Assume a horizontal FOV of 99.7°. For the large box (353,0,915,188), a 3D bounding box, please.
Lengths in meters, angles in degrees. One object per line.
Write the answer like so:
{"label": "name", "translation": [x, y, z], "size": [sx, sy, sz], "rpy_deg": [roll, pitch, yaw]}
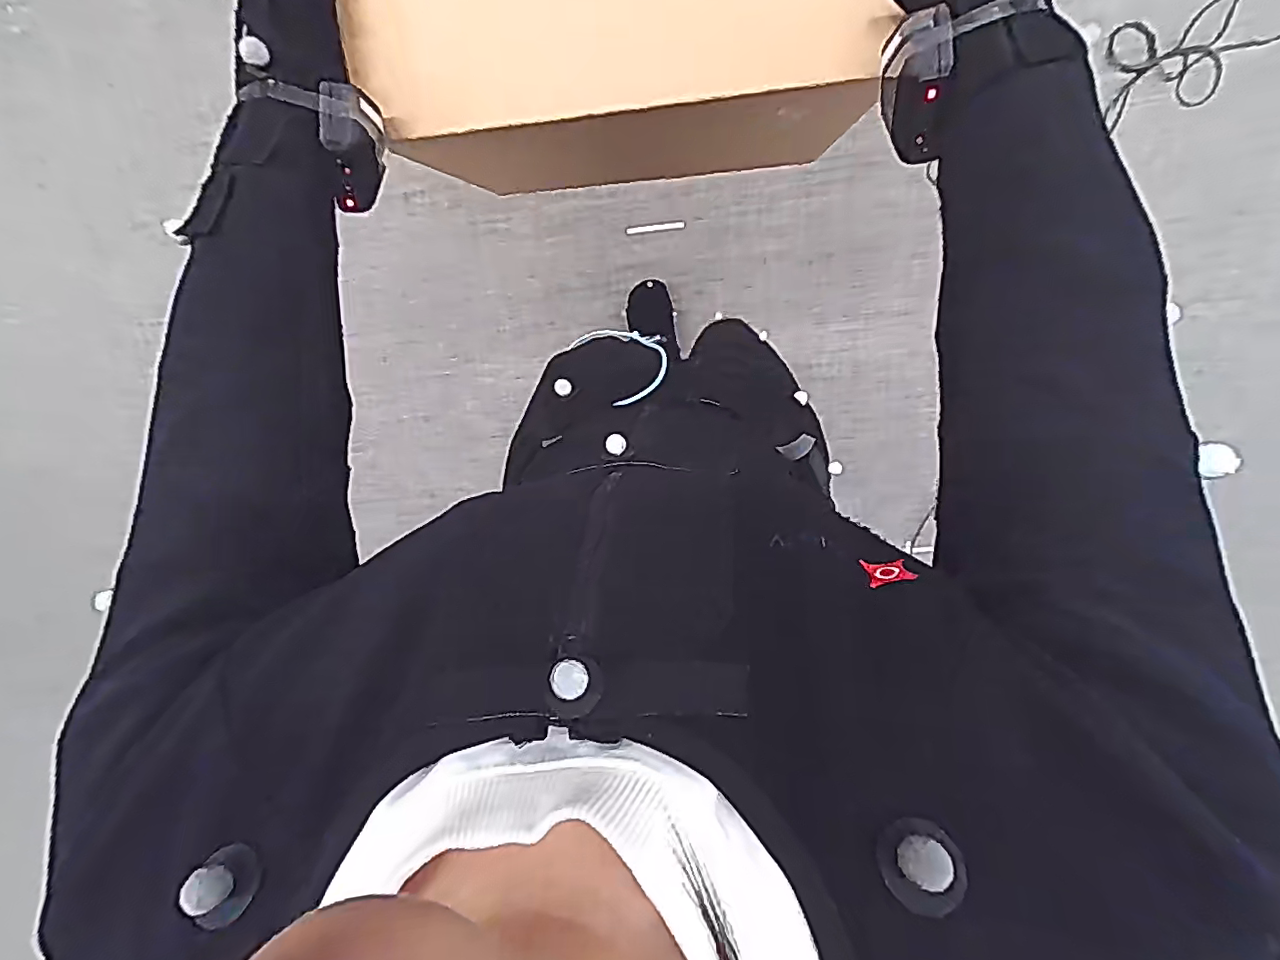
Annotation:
{"label": "large box", "translation": [-0.010, -0.482, 0.489], "size": [0.408, 0.320, 0.320], "rpy_deg": [-3, 111, 6]}
